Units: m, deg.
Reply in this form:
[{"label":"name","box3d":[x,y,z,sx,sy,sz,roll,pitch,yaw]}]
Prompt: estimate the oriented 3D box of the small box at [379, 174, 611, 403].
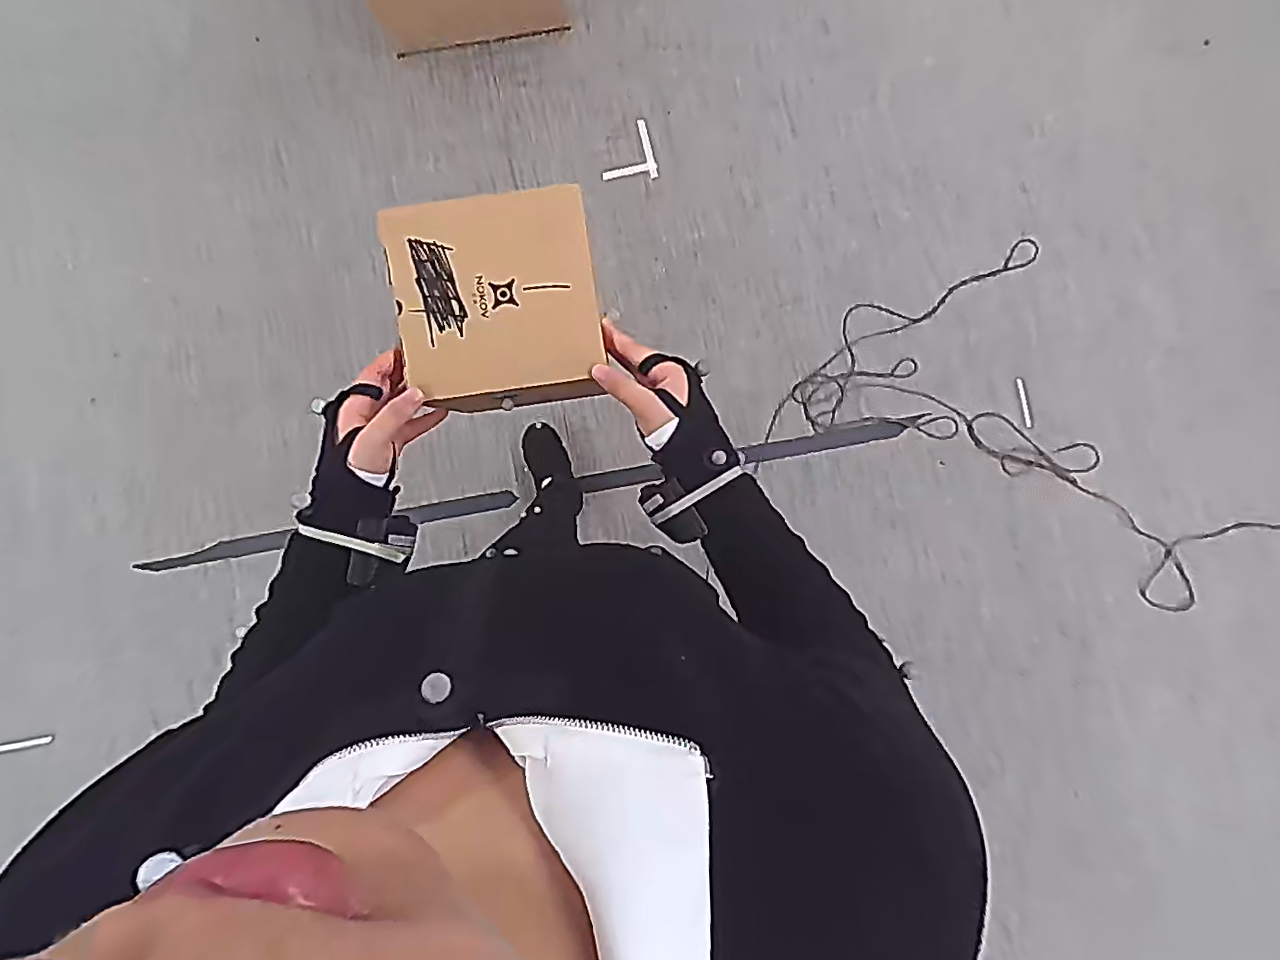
[{"label":"small box","box3d":[-0.127,-0.174,0.543,0.179,0.176,0.168,-8,94,-1]}]
